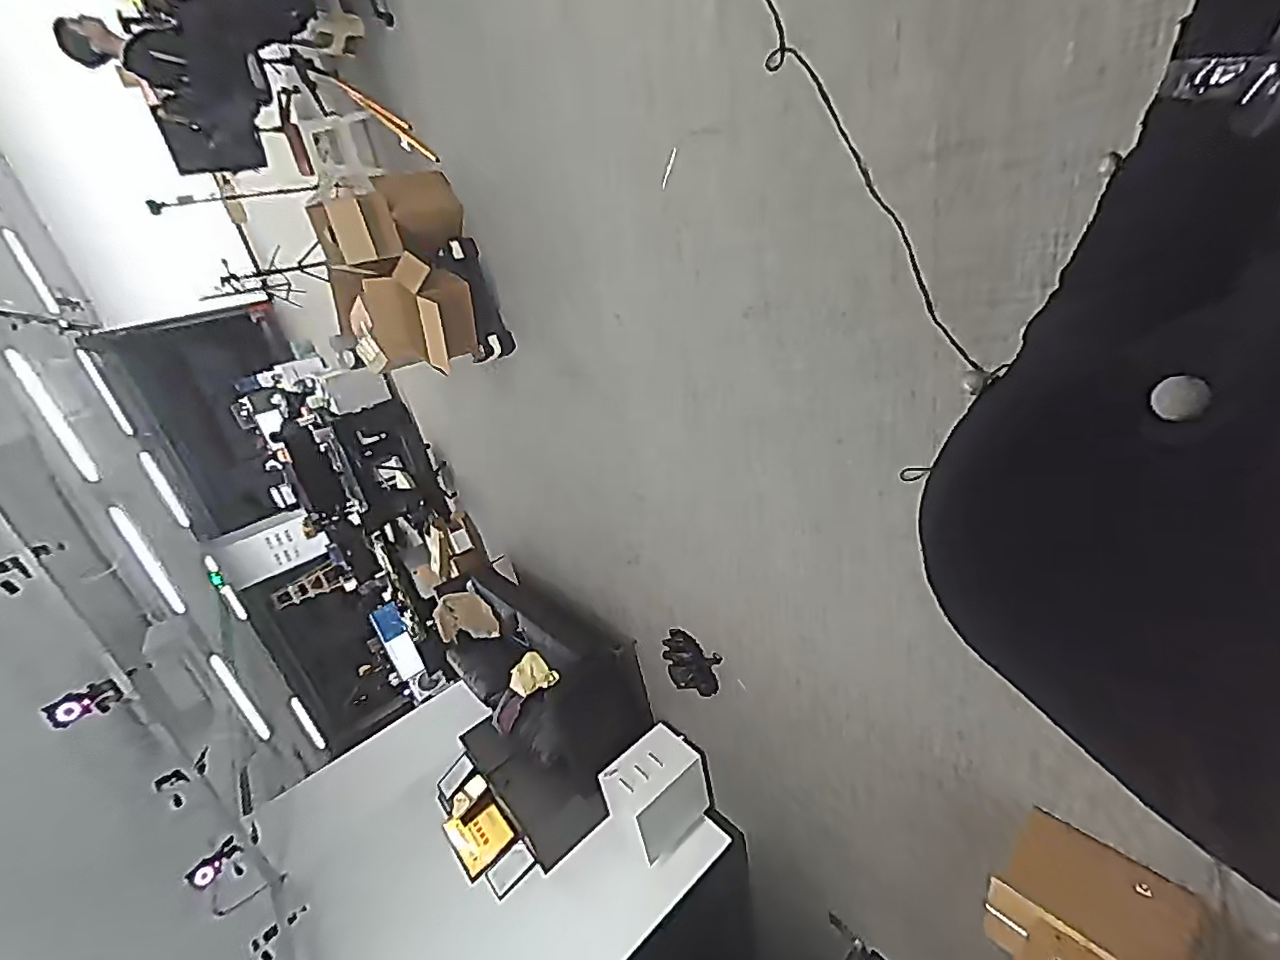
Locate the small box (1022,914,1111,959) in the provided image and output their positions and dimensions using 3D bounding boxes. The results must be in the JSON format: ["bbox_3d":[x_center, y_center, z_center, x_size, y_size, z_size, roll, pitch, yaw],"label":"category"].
[{"bbox_3d":[1.154,1.341,1.461,0.168,0.176,0.179,13,123,51],"label":"small box"}]
